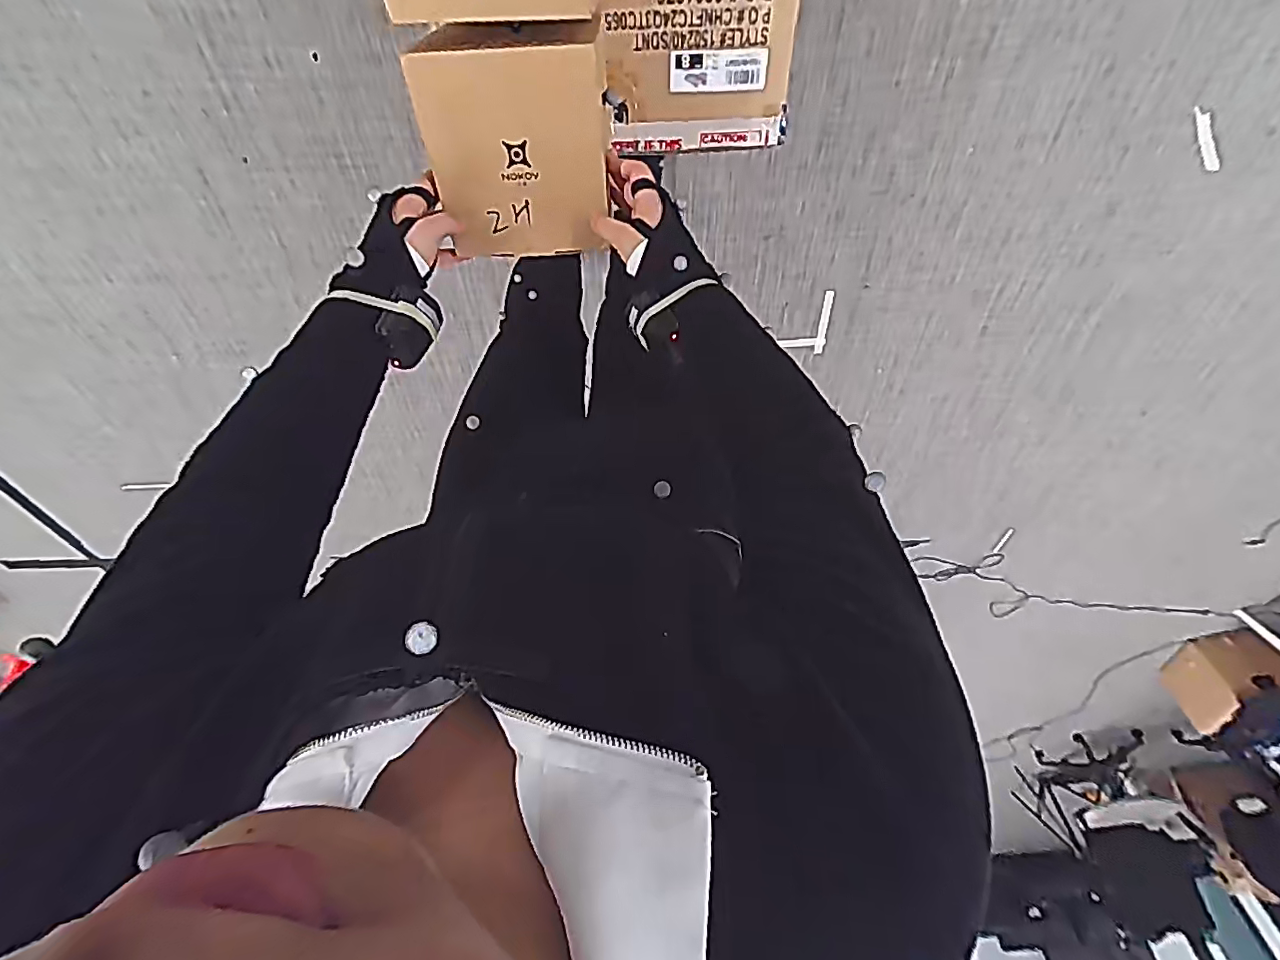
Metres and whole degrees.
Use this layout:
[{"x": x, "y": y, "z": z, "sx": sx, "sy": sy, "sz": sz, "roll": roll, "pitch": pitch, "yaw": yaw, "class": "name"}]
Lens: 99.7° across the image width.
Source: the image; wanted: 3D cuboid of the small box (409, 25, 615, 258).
[{"x": -0.114, "y": -0.356, "z": 0.565, "sx": 0.168, "sy": 0.176, "sz": 0.179, "roll": -2, "pitch": 137, "yaw": 1, "class": "small box"}]

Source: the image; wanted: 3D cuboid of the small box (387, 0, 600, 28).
[{"x": -0.119, "y": -0.484, "z": 0.429, "sx": 0.168, "sy": 0.176, "sz": 0.179, "roll": -1, "pitch": 138, "yaw": 1, "class": "small box"}]
